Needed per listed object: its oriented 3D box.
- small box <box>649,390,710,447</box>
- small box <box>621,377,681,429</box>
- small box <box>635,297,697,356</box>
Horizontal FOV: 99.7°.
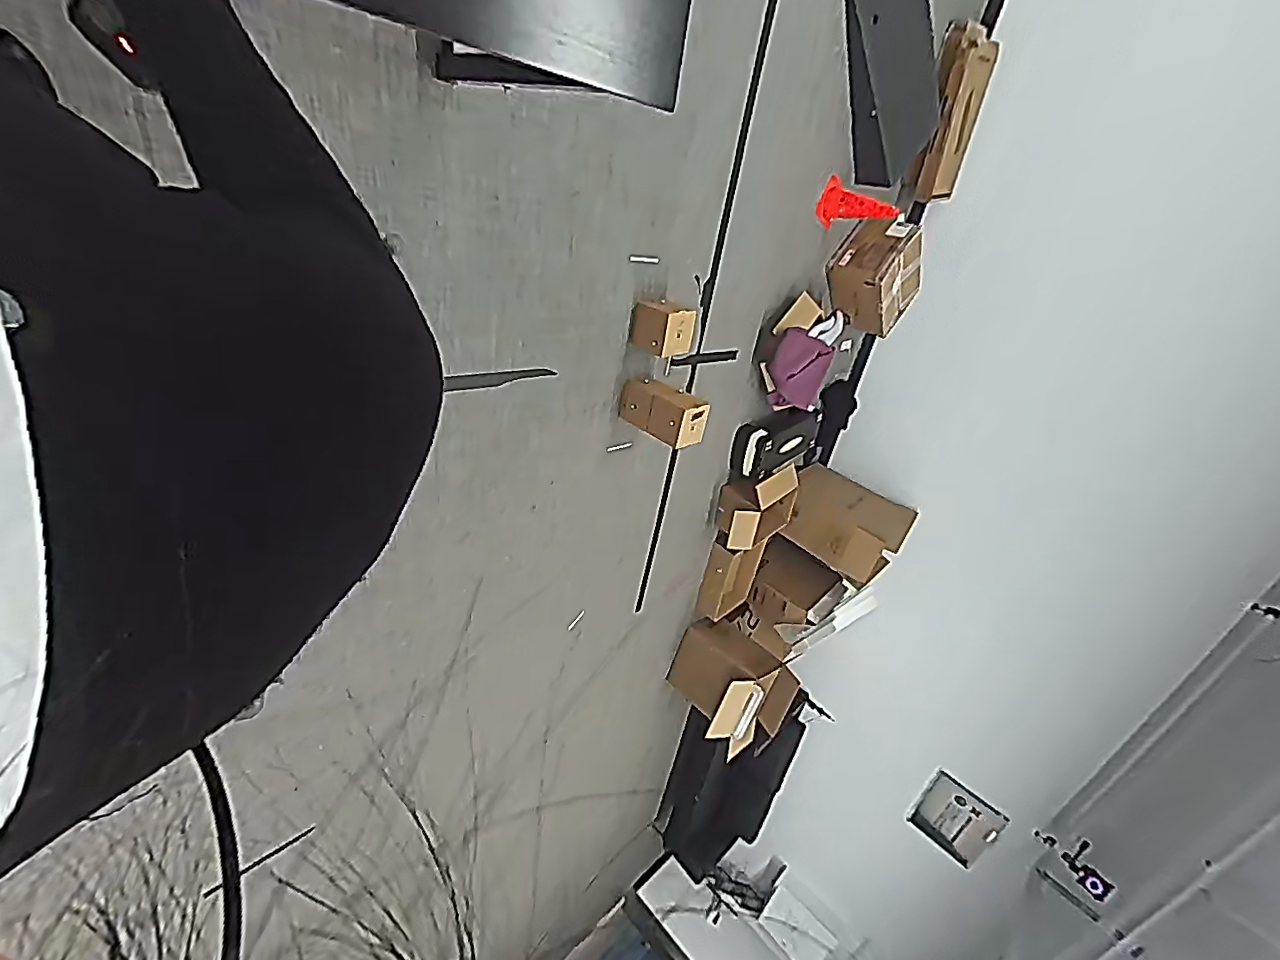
[{"bbox_3d":[0.159,-0.261,2.218,0.168,0.176,0.179,-19,132,-42],"label":"small box"},{"bbox_3d":[0.042,-0.333,2.312,0.179,0.176,0.168,-16,129,-43],"label":"small box"},{"bbox_3d":[0.098,-0.613,2.147,0.168,0.176,0.179,-22,132,-41],"label":"small box"}]
